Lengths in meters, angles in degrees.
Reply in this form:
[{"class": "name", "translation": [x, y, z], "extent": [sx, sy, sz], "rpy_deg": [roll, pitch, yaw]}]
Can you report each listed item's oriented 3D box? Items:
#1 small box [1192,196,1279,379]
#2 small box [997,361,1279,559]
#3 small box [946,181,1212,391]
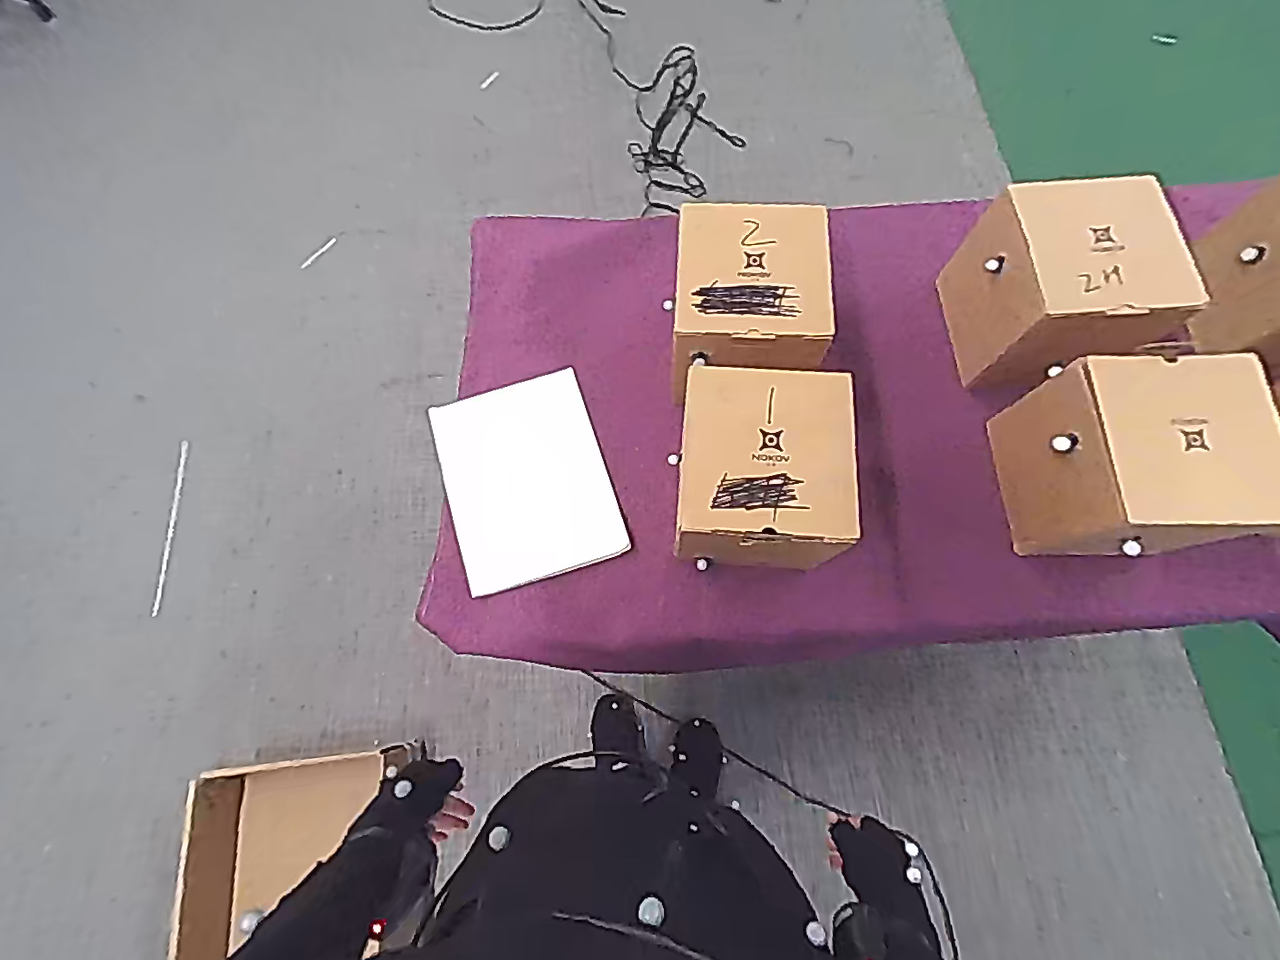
[{"class": "small box", "translation": [0.814, -0.237, 0.645], "extent": [0.168, 0.176, 0.179], "rpy_deg": [2, 72, 3]}, {"class": "small box", "translation": [0.527, -0.011, 0.585], "extent": [0.168, 0.176, 0.179], "rpy_deg": [0, 73, 3]}, {"class": "small box", "translation": [0.501, -0.224, 0.652], "extent": [0.168, 0.176, 0.179], "rpy_deg": [-2, 73, 1]}]
